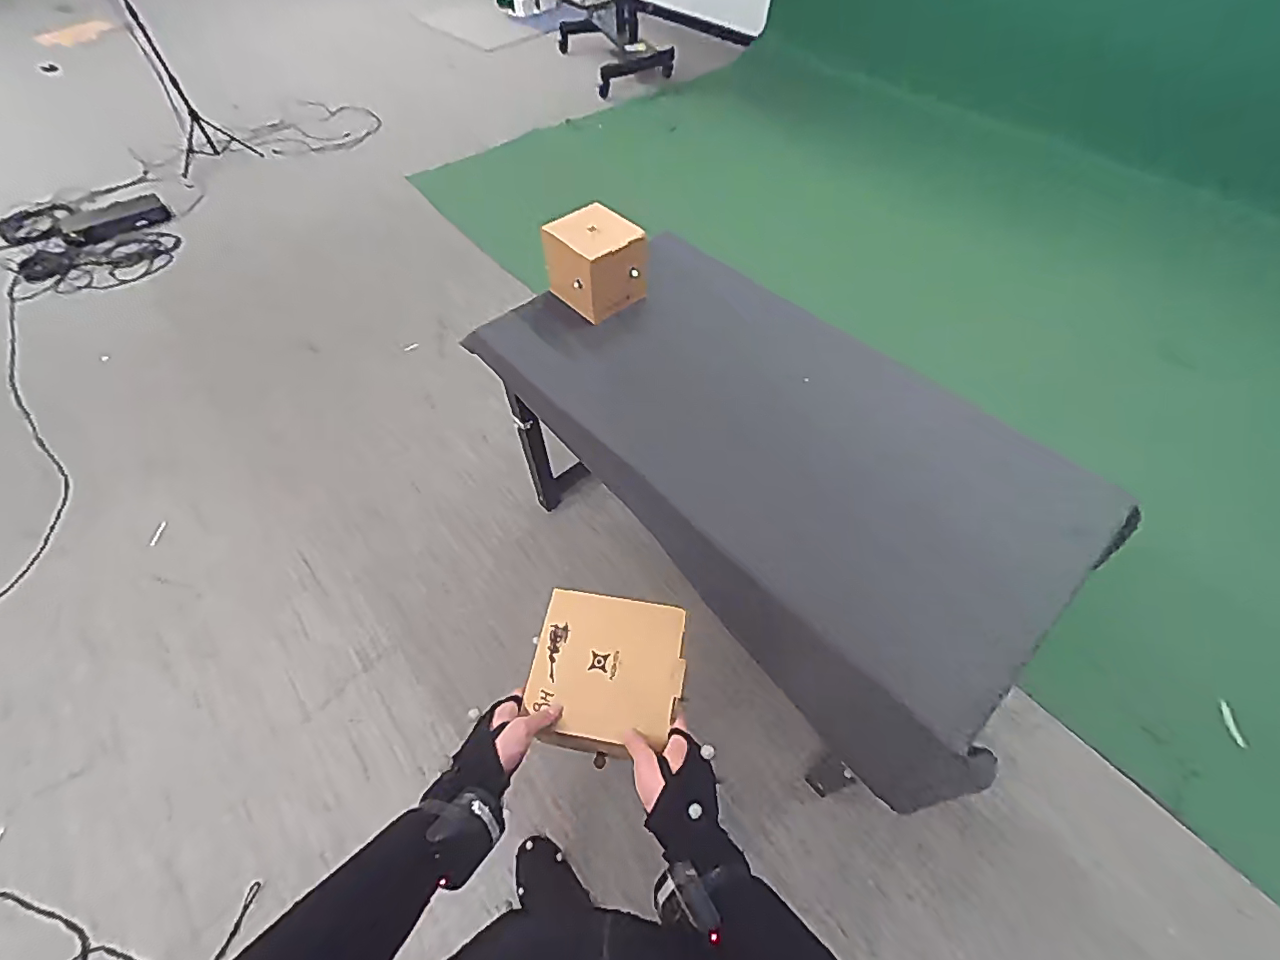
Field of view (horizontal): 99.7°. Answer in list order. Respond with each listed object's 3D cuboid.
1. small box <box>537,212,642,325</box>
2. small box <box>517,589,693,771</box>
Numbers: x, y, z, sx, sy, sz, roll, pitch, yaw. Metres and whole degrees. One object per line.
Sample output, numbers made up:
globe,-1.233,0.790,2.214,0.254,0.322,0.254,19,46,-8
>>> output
small box,-0.114,-0.484,1.253,0.168,0.176,0.179,-36,61,-27
small box,-0.037,0.259,0.685,0.179,0.176,0.168,9,56,4
